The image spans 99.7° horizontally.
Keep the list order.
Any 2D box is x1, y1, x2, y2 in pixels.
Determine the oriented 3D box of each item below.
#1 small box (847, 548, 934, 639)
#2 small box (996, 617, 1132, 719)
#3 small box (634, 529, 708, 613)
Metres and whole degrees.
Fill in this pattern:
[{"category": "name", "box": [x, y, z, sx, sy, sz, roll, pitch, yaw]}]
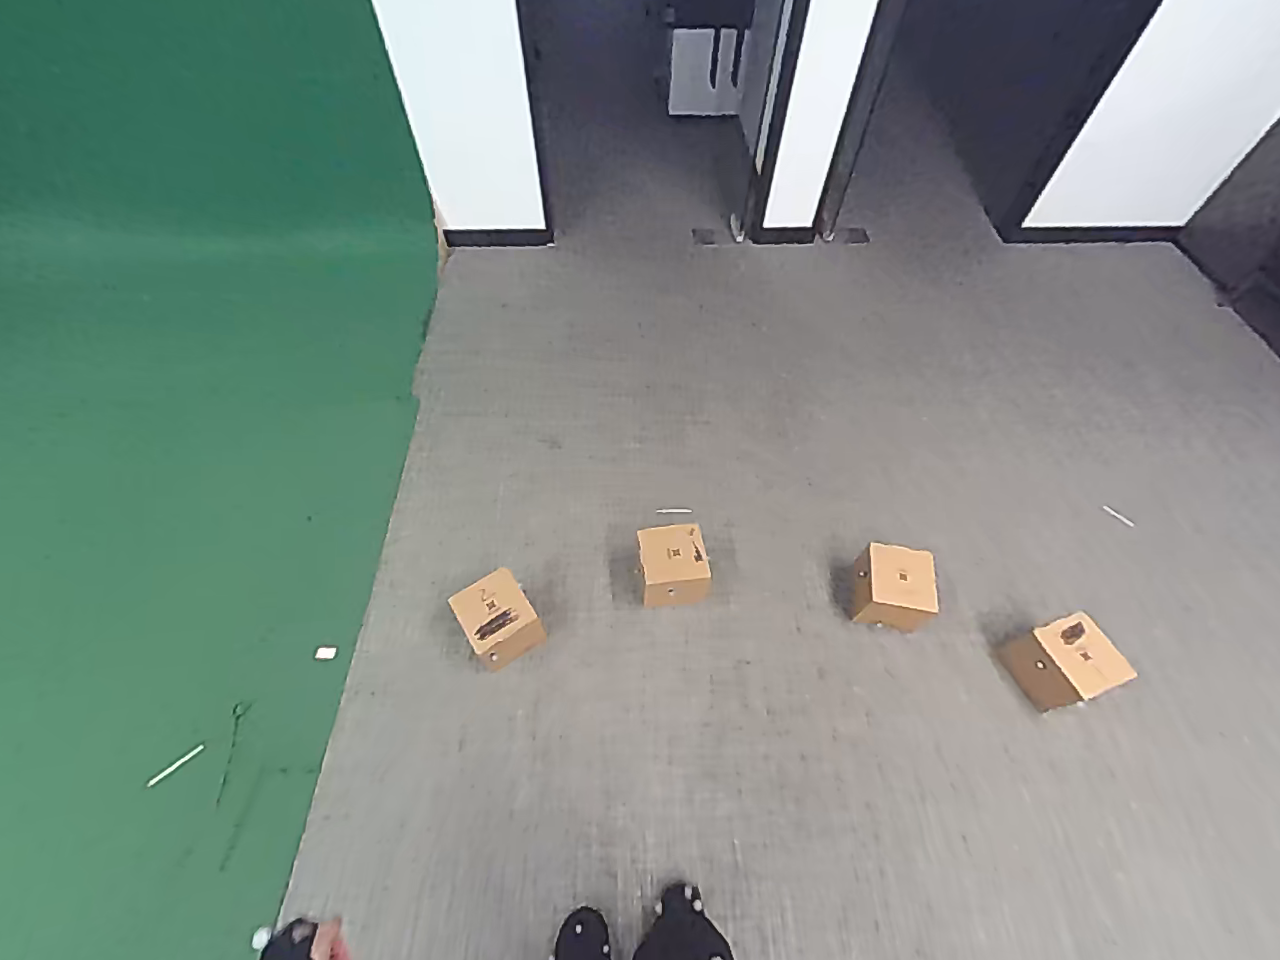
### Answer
[{"category": "small box", "box": [0.678, 0.313, 1.482, 0.168, 0.176, 0.179, 10, 56, 6]}, {"category": "small box", "box": [1.063, 0.480, 1.376, 0.168, 0.176, 0.179, -17, 58, -12]}, {"category": "small box", "box": [0.081, 0.257, 1.504, 0.179, 0.176, 0.168, -7, 56, -5]}]
